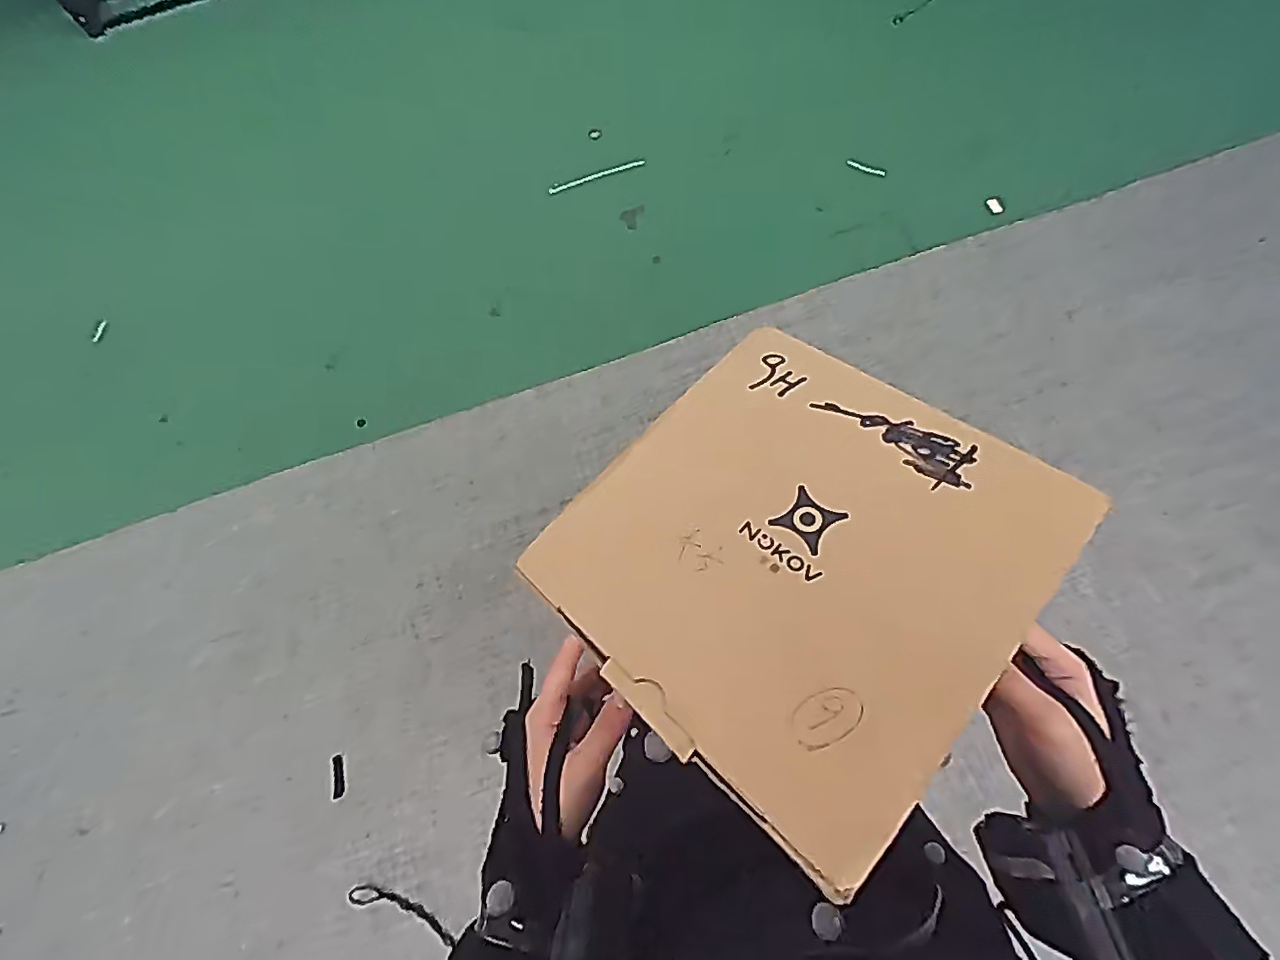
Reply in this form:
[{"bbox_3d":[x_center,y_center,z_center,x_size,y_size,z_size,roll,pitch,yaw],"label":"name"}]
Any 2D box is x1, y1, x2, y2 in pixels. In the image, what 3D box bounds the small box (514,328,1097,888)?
[{"bbox_3d":[0.073,0.063,0.287,0.168,0.176,0.179,38,74,28],"label":"small box"}]
